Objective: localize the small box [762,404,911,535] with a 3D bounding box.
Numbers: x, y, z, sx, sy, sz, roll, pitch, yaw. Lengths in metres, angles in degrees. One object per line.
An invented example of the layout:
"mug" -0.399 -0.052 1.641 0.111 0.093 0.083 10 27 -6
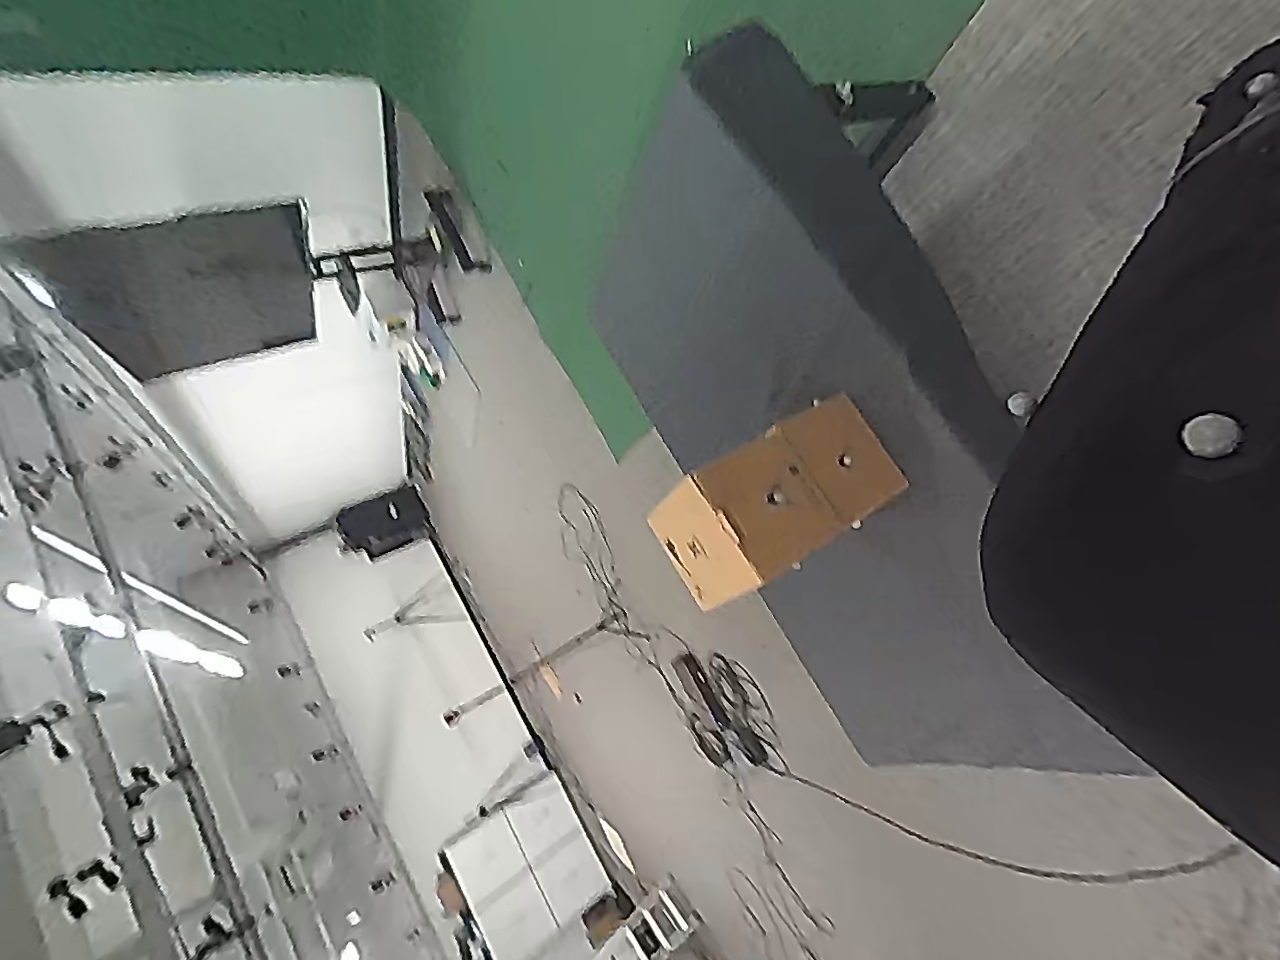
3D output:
"small box" 0.285 -0.004 0.866 0.179 0.176 0.168 58 151 11

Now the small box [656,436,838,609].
"small box" 0.157 0.061 0.787 0.168 0.176 0.179 58 150 12
